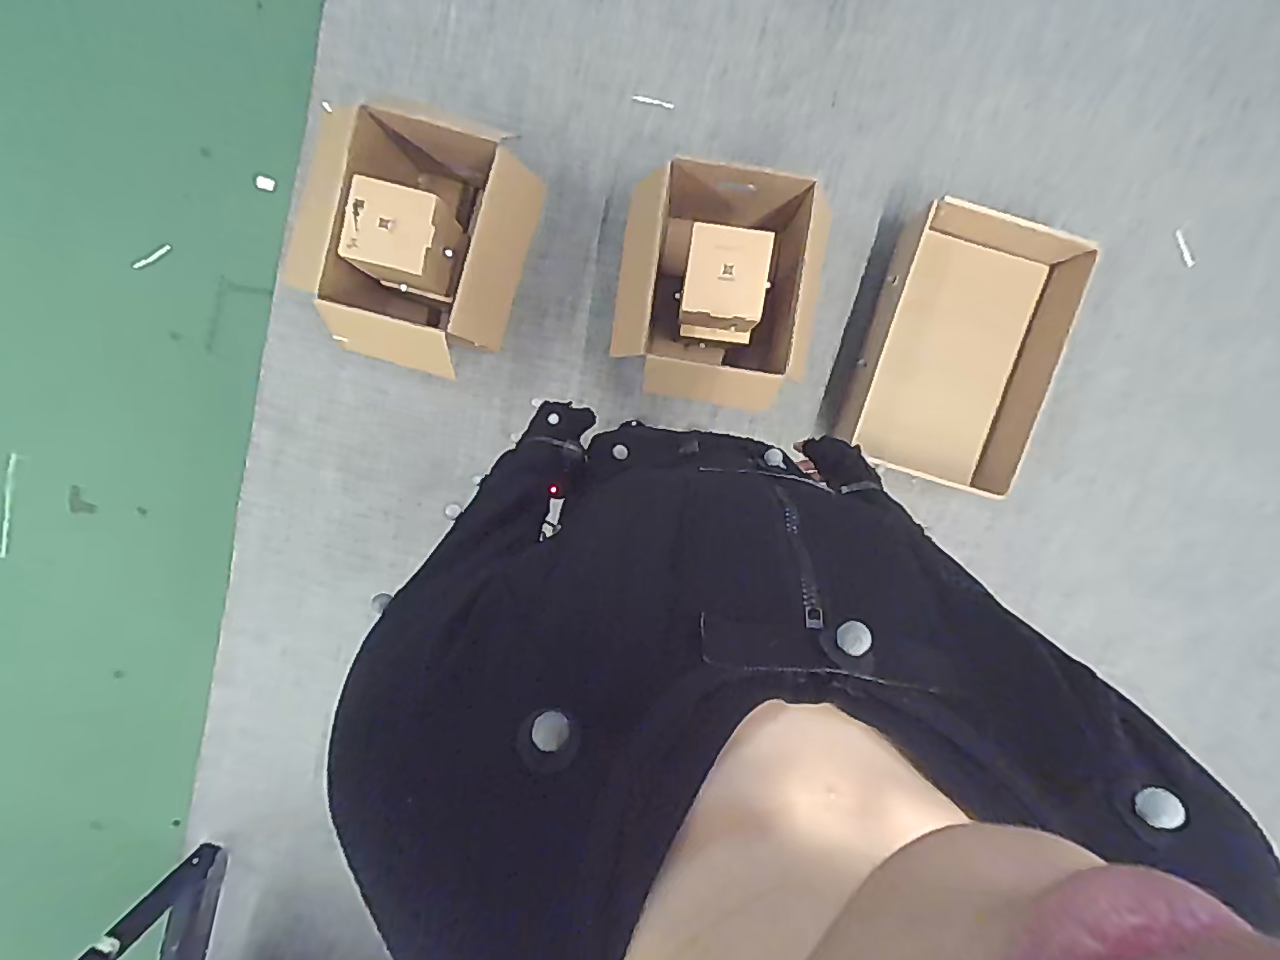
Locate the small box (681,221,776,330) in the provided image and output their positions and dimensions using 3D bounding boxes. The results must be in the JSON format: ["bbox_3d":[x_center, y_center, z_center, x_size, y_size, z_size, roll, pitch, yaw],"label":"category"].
[{"bbox_3d":[0.181,-0.427,1.160,0.168,0.176,0.179,8,97,0],"label":"small box"}]
